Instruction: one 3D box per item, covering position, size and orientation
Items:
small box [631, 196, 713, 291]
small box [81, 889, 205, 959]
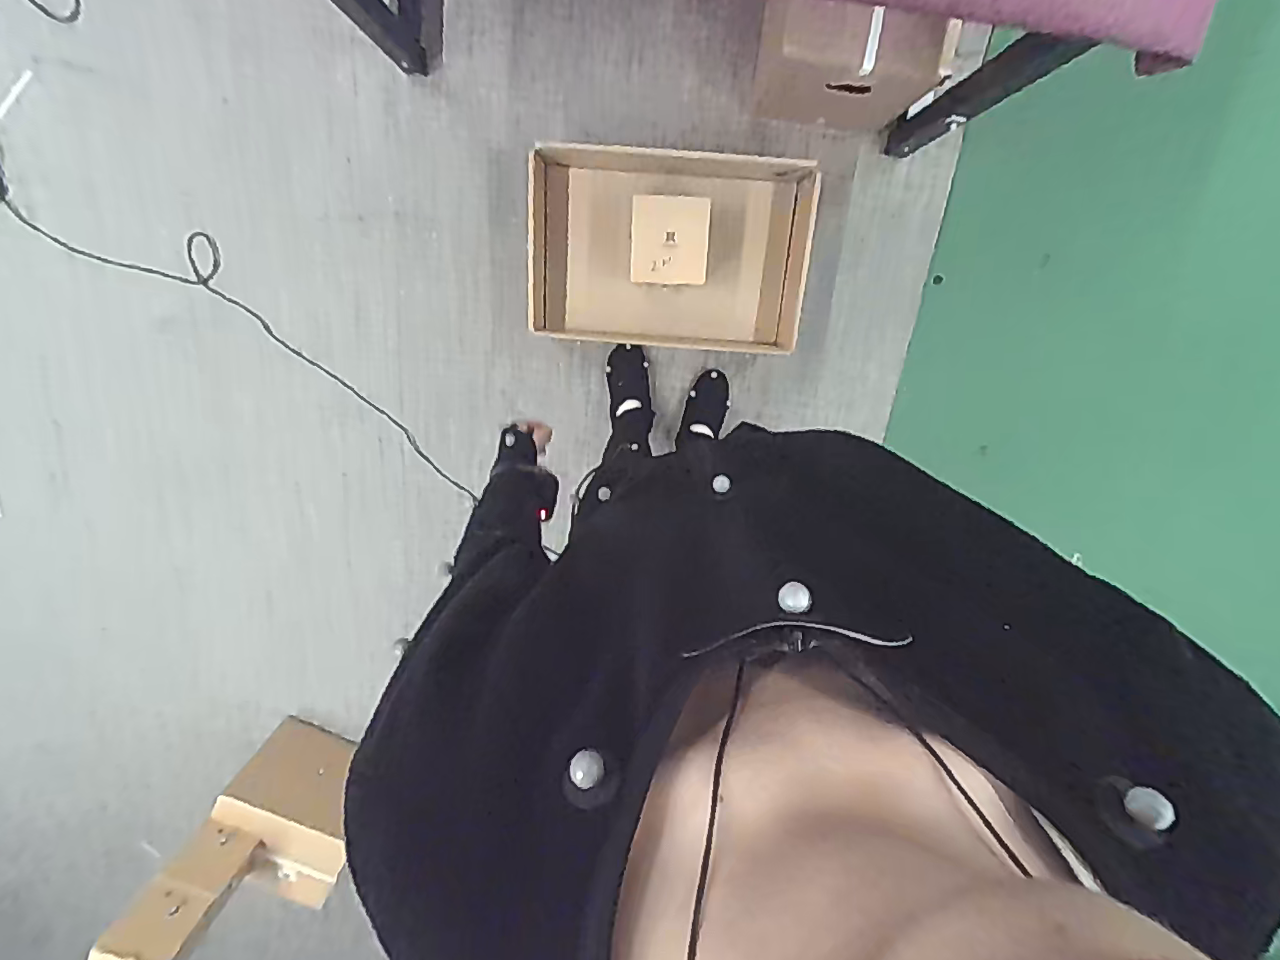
[{"bbox_3d":[0.067,-0.526,1.223,0.168,0.176,0.179,3,108,0],"label":"small box"},{"bbox_3d":[-1.203,1.148,1.303,0.168,0.176,0.179,25,105,-7],"label":"small box"}]
